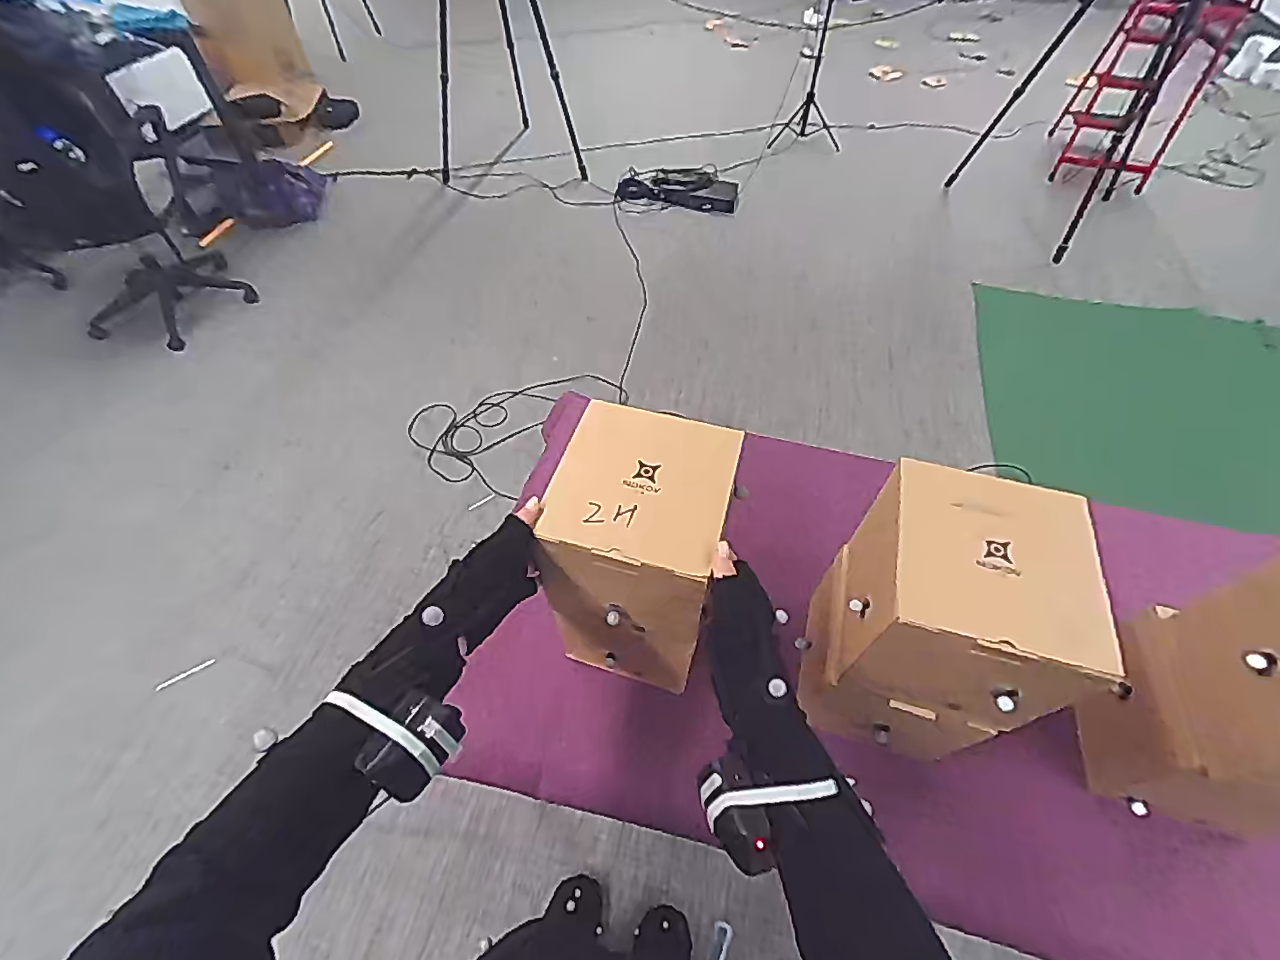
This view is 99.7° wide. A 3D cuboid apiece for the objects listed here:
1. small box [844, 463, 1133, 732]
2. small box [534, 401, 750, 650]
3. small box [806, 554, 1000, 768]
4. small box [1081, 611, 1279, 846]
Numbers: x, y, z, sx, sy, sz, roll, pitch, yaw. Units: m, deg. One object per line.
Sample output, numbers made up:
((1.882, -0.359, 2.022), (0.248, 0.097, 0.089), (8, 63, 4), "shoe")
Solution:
((0.306, 0.117, 0.517), (0.168, 0.176, 0.179), (14, 54, 10), "small box")
((0.007, 0.050, 0.567), (0.168, 0.176, 0.179), (14, 55, 10), "small box")
((0.302, 0.219, 0.648), (0.168, 0.176, 0.179), (12, 53, 14), "small box")
((0.631, 0.278, 0.596), (0.168, 0.176, 0.179), (16, 55, 10), "small box")
